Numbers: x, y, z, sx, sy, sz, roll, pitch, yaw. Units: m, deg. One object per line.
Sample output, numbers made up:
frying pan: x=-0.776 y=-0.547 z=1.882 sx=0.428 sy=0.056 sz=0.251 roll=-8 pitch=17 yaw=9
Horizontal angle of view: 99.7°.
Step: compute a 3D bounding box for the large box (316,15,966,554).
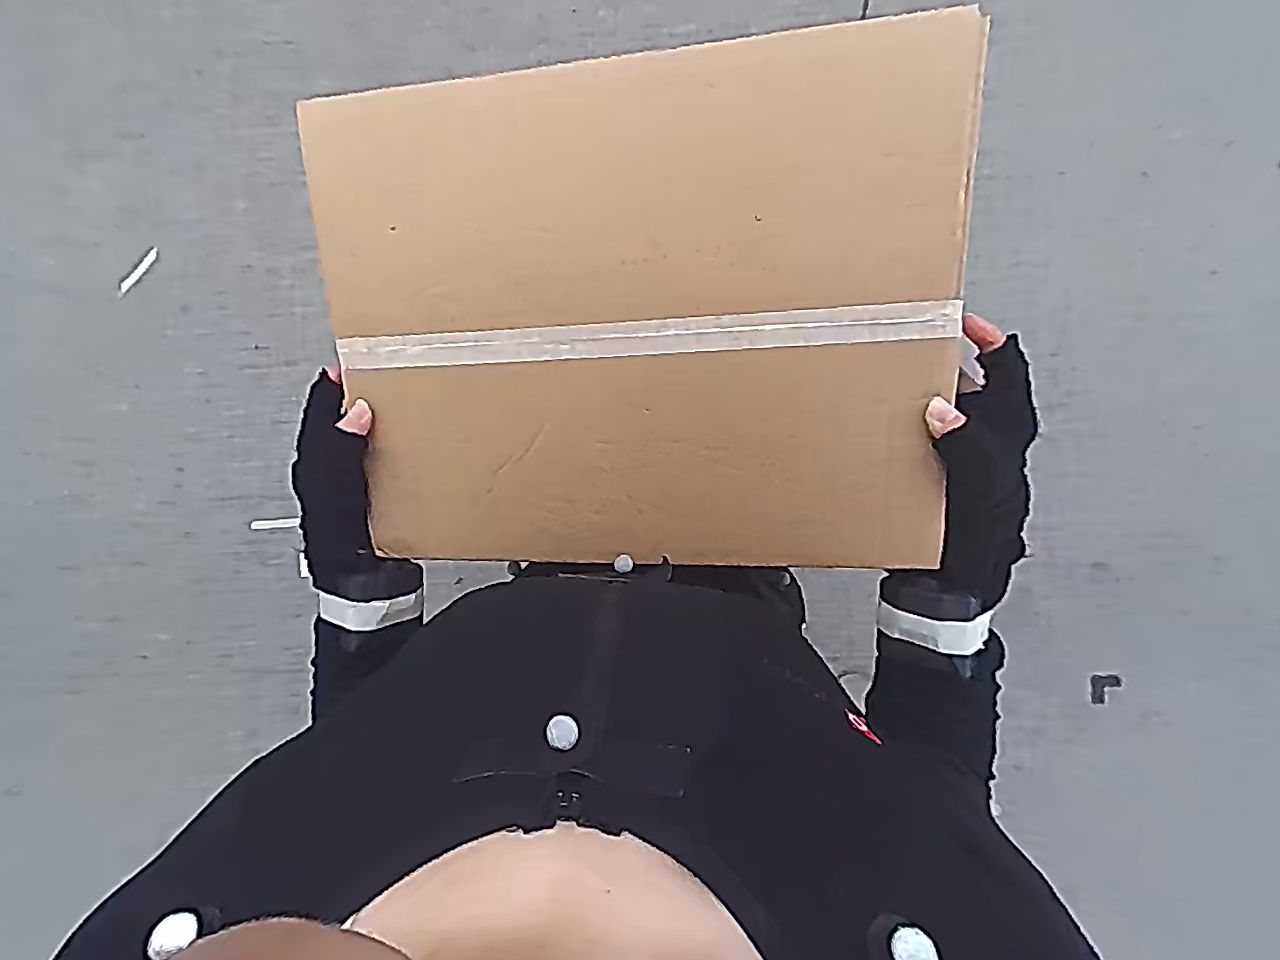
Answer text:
large box: x=0.015 y=-0.134 z=0.498 sx=0.408 sy=0.320 sz=0.320 roll=0 pitch=104 yaw=10
